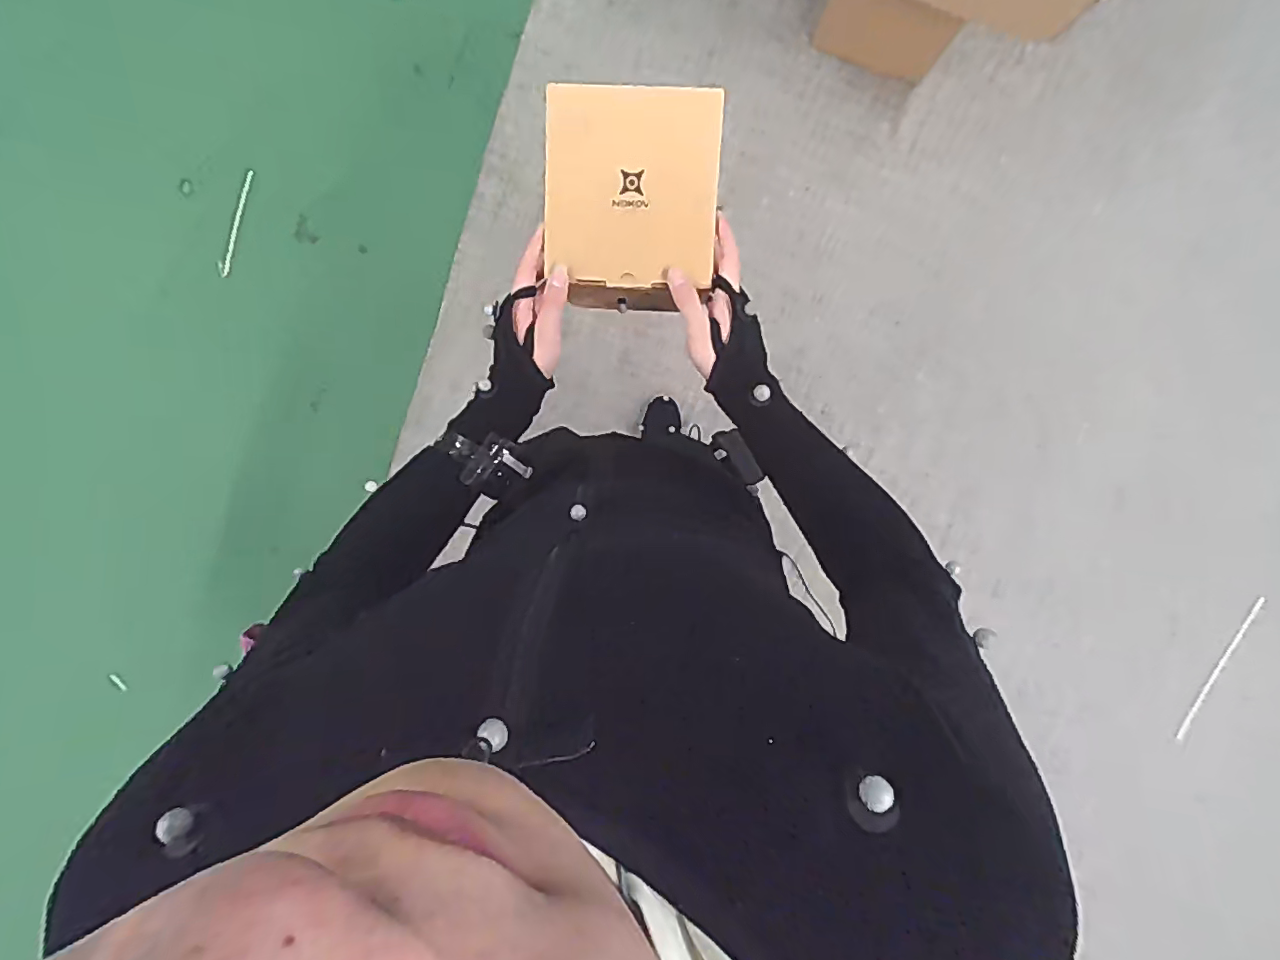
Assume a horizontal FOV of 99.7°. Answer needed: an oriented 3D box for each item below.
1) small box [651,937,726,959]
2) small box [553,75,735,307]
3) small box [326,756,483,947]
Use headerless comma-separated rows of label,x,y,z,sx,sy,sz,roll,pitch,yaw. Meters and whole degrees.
small box,0.081,0.966,0.941,0.168,0.176,0.179,21,100,-1
small box,0.002,-0.293,0.586,0.168,0.176,0.179,3,101,1
small box,-0.390,0.622,0.924,0.168,0.176,0.179,22,101,0
